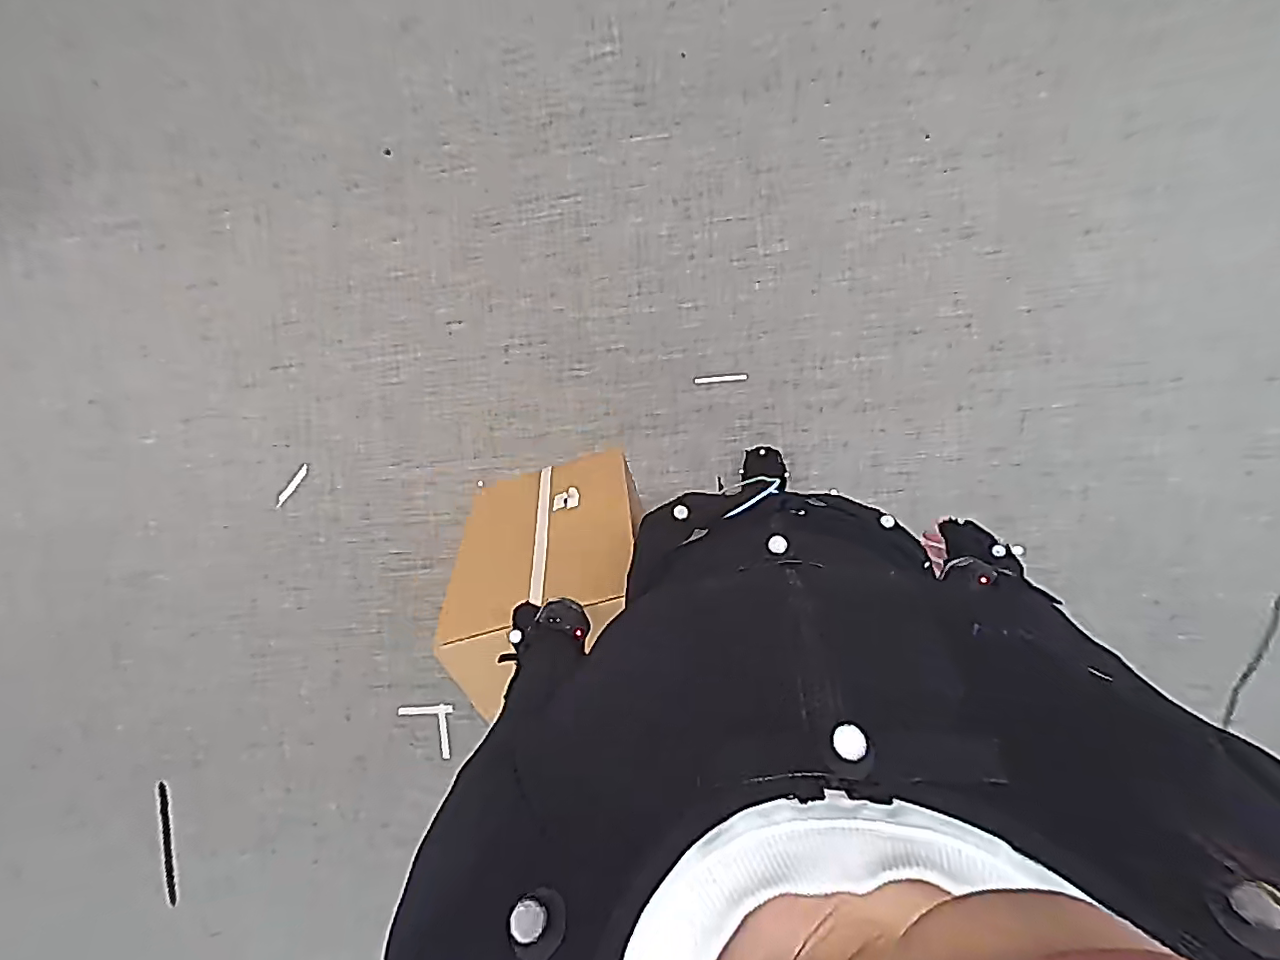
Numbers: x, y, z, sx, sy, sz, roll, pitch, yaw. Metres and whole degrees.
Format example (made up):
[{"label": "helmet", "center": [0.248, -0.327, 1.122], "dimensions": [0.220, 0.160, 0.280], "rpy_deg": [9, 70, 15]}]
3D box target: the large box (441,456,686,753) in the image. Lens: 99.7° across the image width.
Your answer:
[{"label": "large box", "center": [-0.124, 0.217, 1.019], "dimensions": [0.320, 0.408, 0.320], "rpy_deg": [-16, 122, 5]}]
